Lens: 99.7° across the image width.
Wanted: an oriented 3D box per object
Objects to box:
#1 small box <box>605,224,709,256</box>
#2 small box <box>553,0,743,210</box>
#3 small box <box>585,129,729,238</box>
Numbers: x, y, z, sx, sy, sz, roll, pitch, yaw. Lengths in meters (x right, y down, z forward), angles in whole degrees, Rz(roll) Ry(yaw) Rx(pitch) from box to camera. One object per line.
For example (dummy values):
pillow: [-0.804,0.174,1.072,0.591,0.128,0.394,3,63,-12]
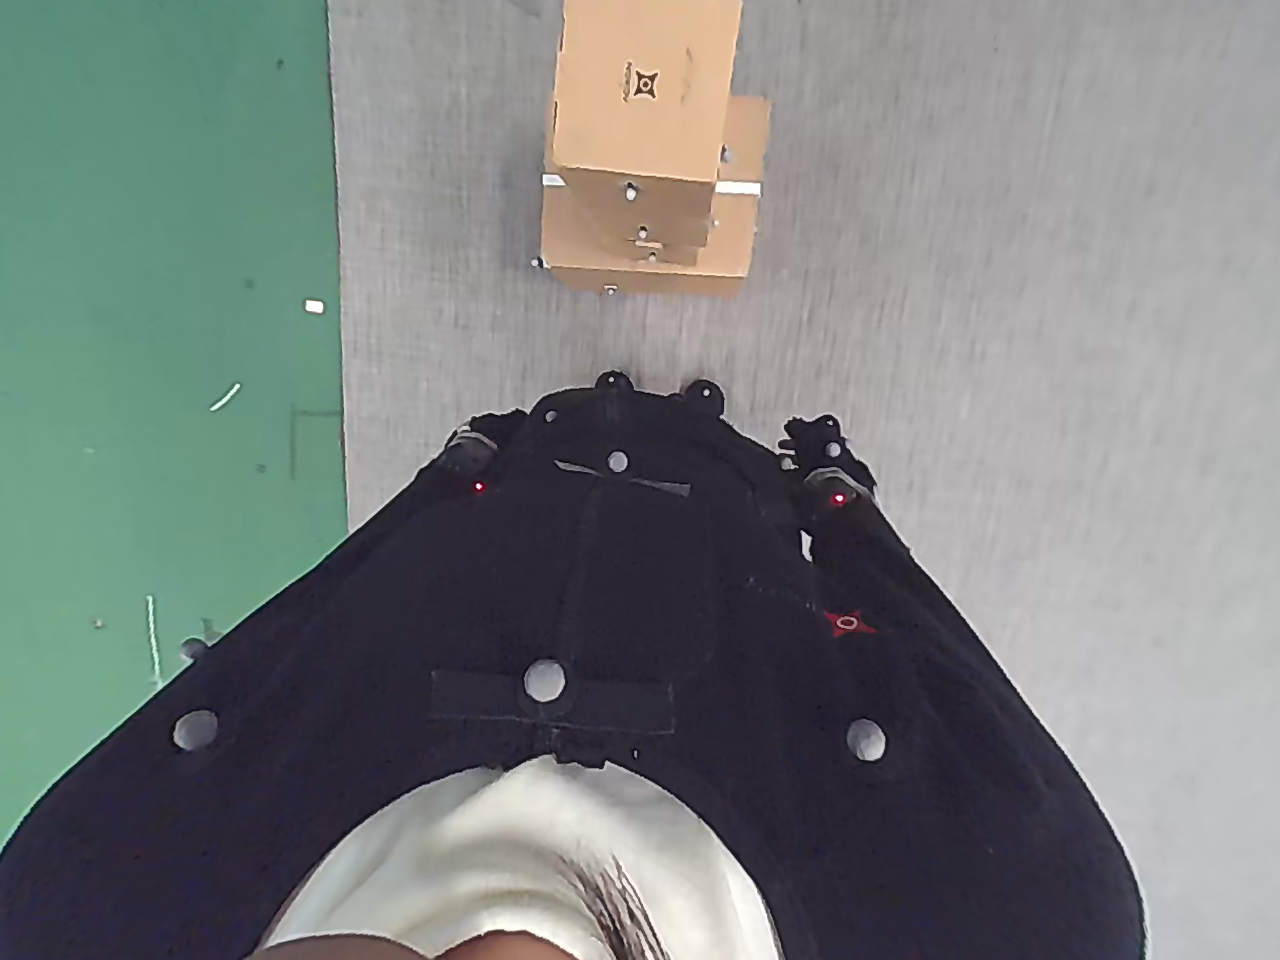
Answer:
small box: [0.043,-0.493,0.929,0.168,0.176,0.179,8,104,5]
small box: [0.013,-0.418,0.612,0.179,0.176,0.168,7,105,4]
small box: [0.031,-0.453,0.769,0.179,0.176,0.168,8,104,6]
